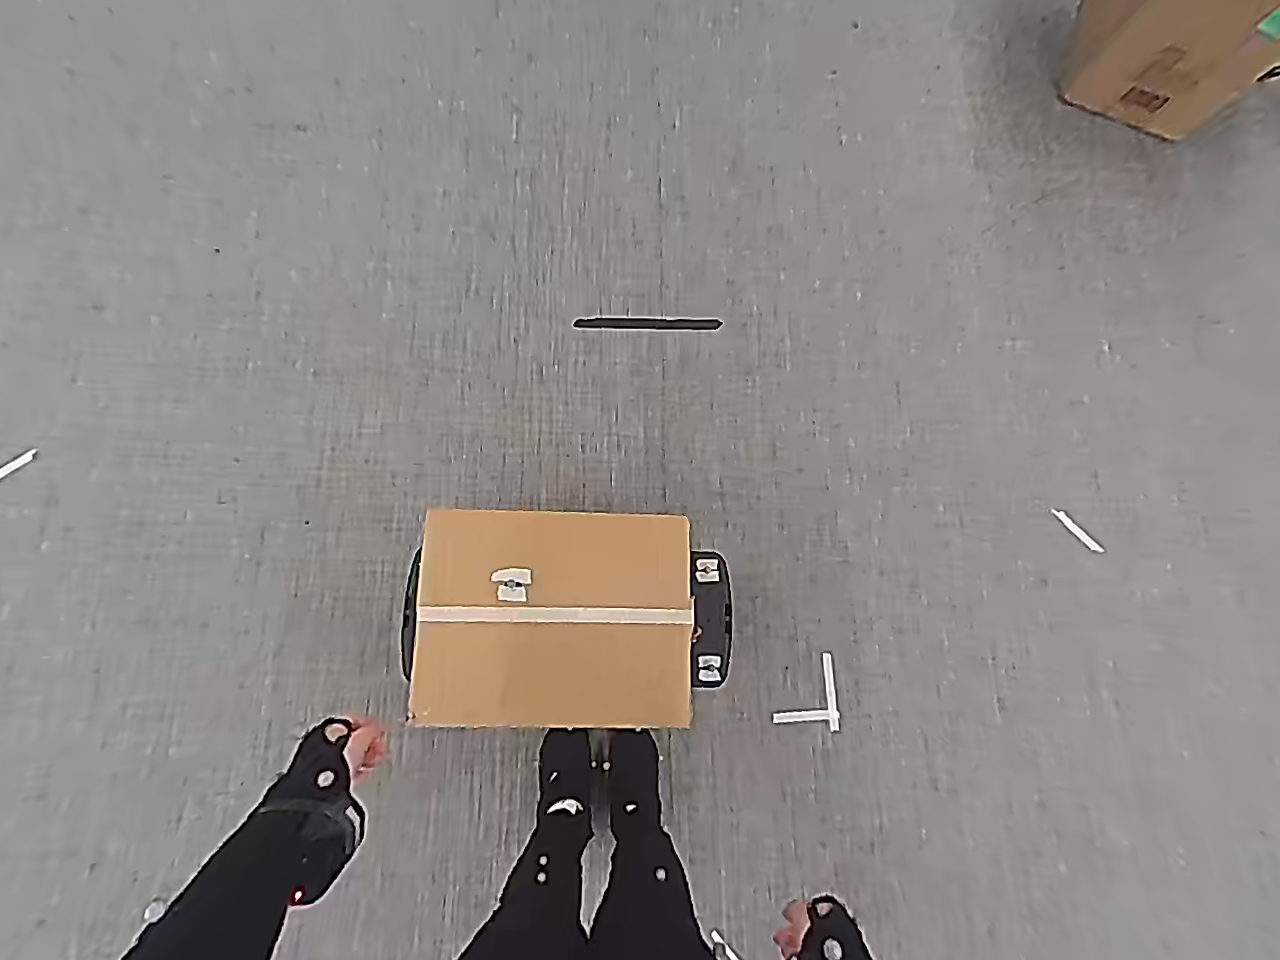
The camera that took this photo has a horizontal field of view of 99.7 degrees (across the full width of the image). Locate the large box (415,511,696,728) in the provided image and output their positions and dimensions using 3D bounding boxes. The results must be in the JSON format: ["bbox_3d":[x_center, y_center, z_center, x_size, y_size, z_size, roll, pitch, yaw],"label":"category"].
[{"bbox_3d":[-0.123,0.228,0.940,0.408,0.320,0.320,1,77,-2],"label":"large box"}]

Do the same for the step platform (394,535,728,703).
[{"bbox_3d":[-0.155,0.294,1.168,0.684,0.204,0.286,7,78,-1],"label":"step platform"}]
